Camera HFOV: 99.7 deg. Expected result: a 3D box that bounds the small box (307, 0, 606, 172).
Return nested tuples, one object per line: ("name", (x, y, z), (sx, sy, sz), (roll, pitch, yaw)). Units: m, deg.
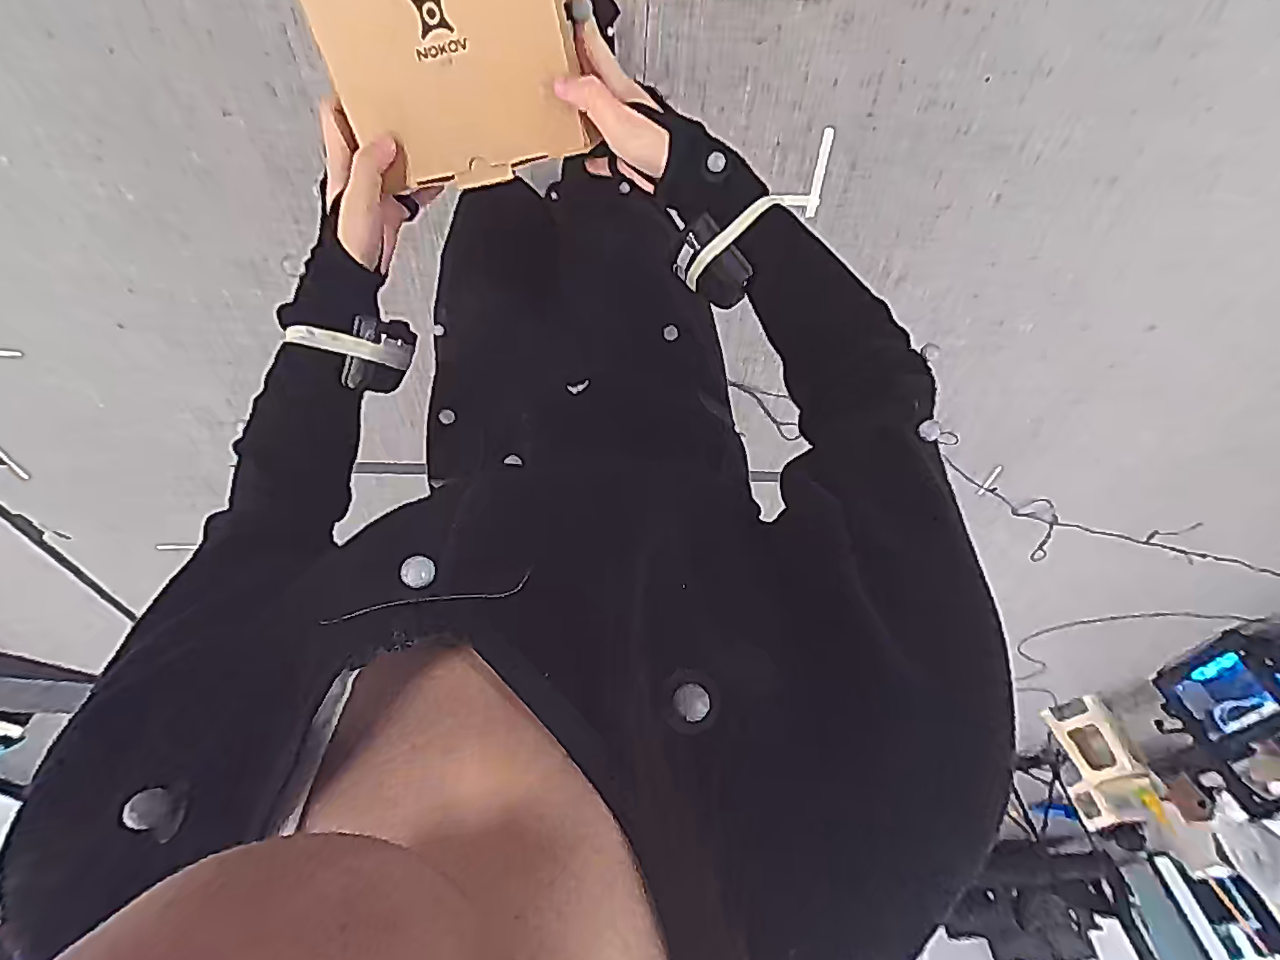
("small box", (-0.127, -0.353, 0.405), (0.168, 0.176, 0.179), (-7, 127, 9))
